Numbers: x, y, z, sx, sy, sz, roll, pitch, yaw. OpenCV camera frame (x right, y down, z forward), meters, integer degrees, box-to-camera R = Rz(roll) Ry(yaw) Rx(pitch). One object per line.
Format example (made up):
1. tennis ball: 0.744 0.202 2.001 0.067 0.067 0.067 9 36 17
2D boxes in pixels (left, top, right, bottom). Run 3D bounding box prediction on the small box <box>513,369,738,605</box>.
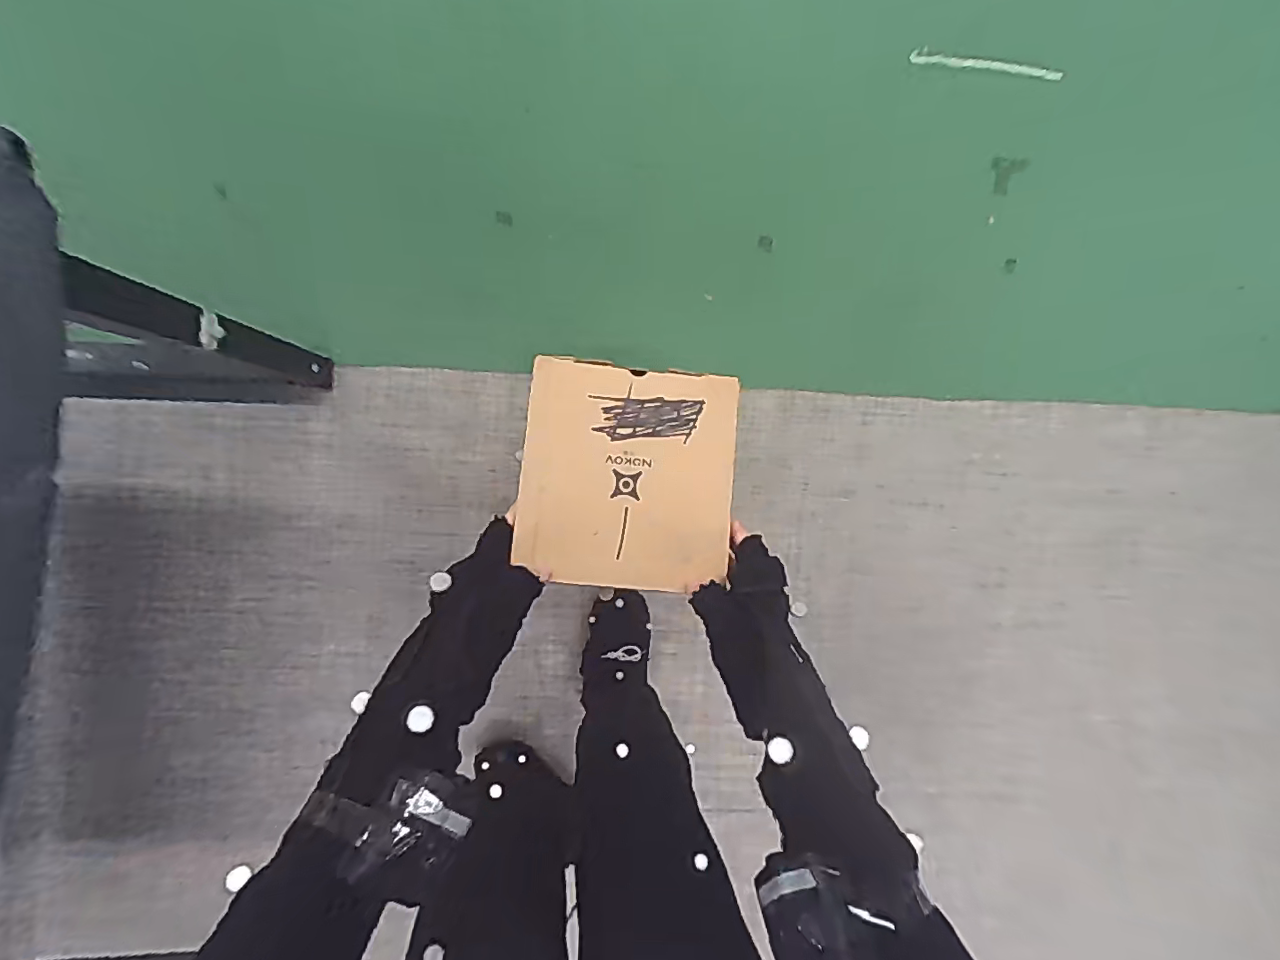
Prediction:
1. small box: -0.014 0.016 0.506 0.168 0.176 0.179 6 81 -3
